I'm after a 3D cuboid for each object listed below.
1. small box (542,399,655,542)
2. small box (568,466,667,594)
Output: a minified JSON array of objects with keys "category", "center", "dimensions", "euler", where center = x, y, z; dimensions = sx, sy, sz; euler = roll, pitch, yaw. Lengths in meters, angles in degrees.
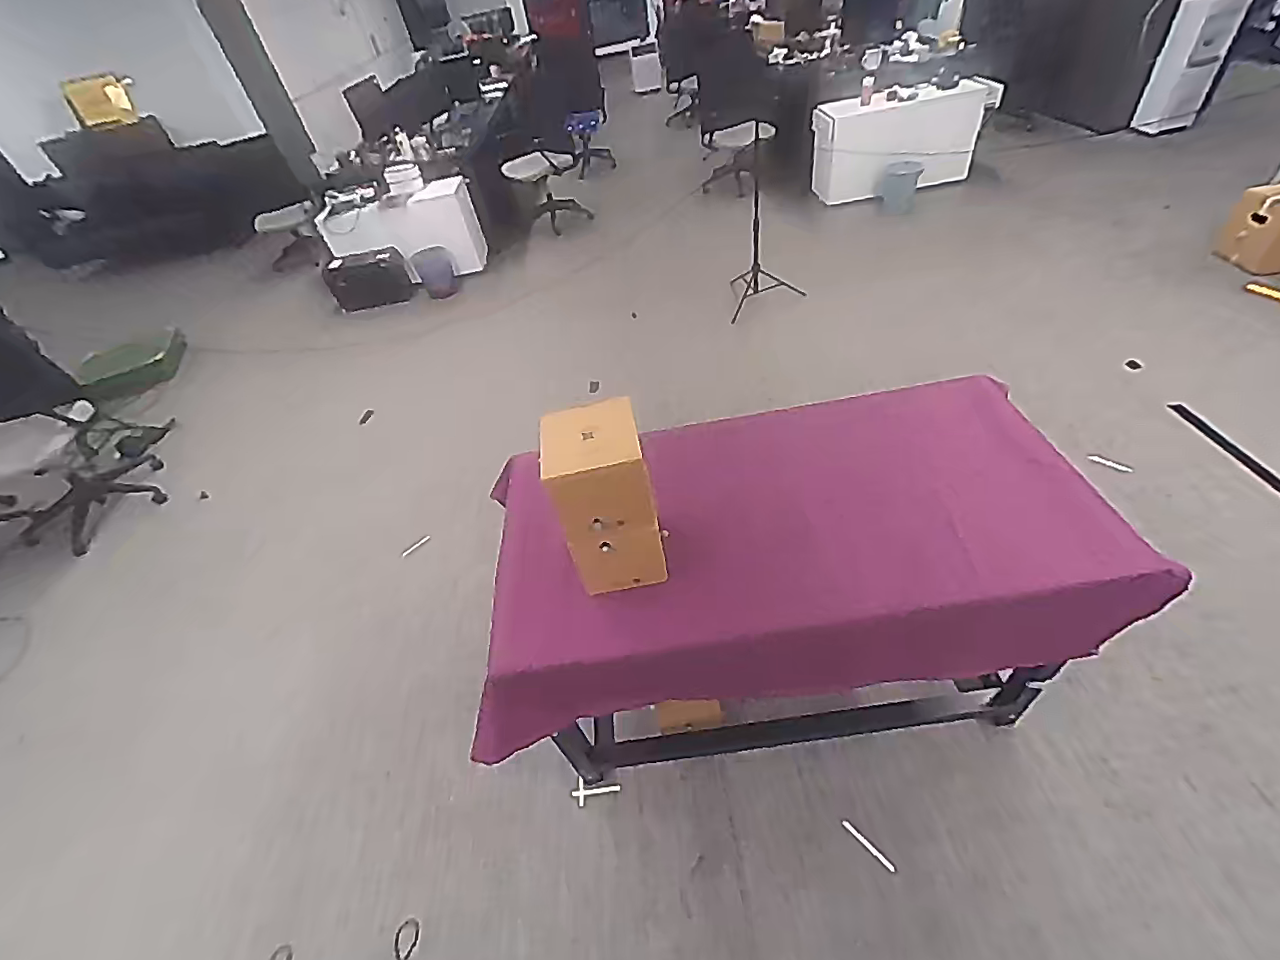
[{"category":"small box","center":[-0.073,-0.016,0.964],"dimensions":[0.168,0.176,0.179],"euler":[-11,44,1]},{"category":"small box","center":[-0.044,0.100,1.076],"dimensions":[0.168,0.176,0.179],"euler":[-10,44,2]}]
